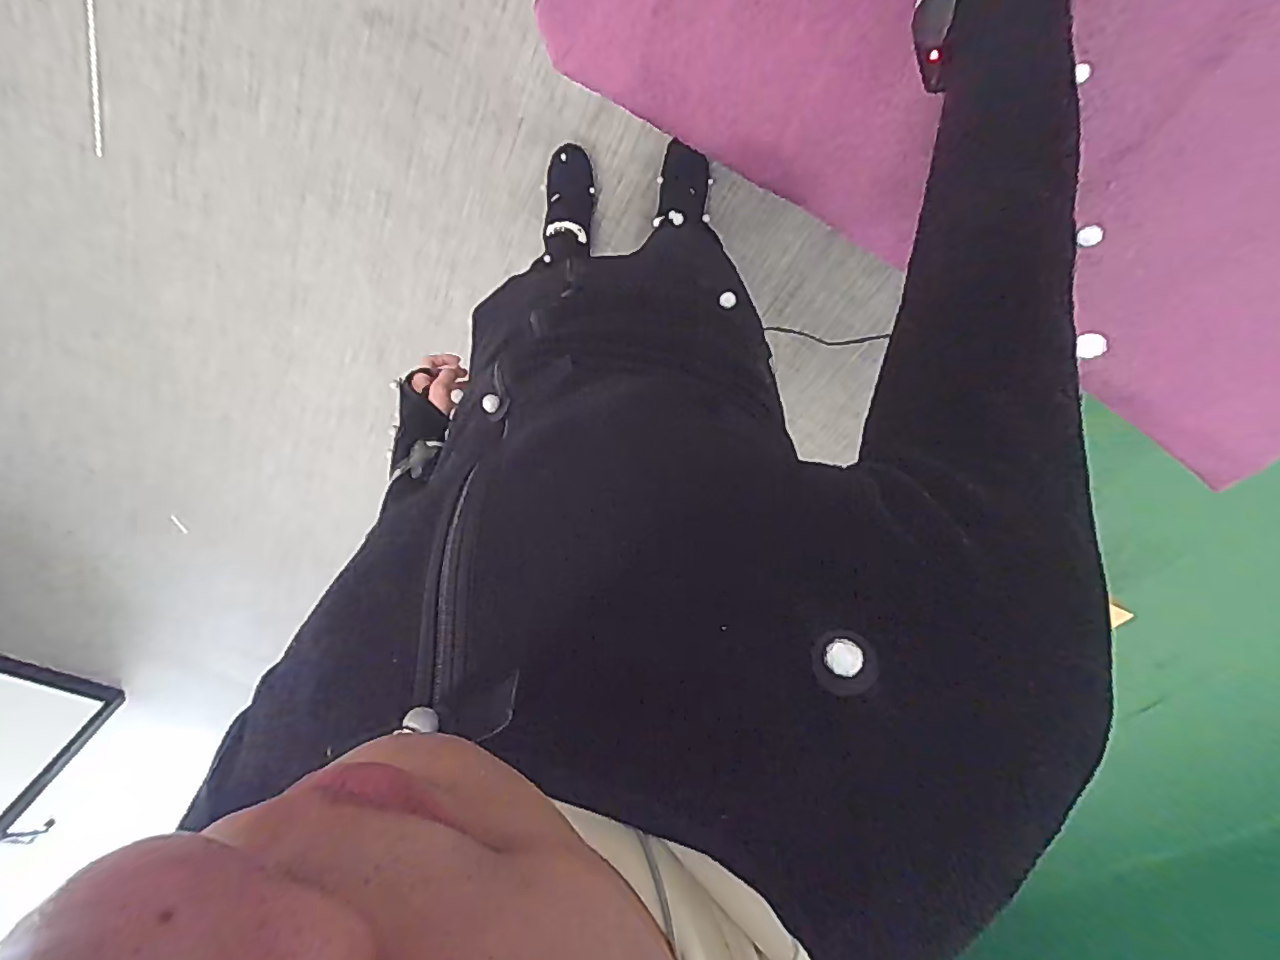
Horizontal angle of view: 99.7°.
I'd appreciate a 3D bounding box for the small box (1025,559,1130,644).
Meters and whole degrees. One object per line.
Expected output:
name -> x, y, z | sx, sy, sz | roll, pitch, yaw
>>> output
small box -> 1.389, 0.390, 1.739 | 0.168, 0.176, 0.179 | 23, 123, -14
